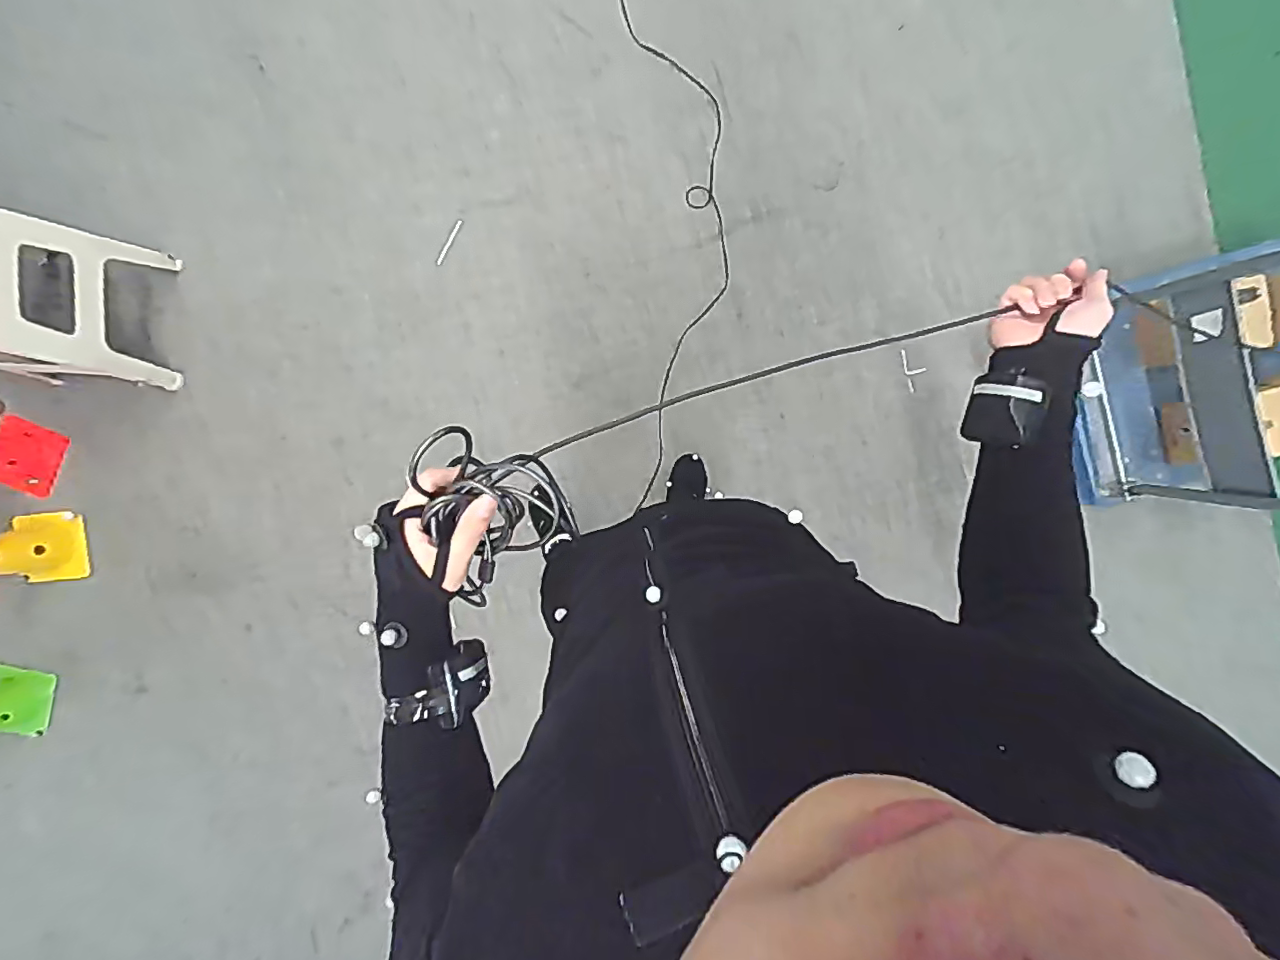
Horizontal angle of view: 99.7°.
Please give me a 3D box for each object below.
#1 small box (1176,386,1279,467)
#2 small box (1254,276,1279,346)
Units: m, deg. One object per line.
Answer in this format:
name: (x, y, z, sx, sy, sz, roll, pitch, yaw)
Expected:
small box: (1.517, -0.135, 1.351, 0.179, 0.176, 0.168, -15, 93, 2)
small box: (1.689, -0.445, 1.332, 0.179, 0.176, 0.168, -20, 94, 1)
